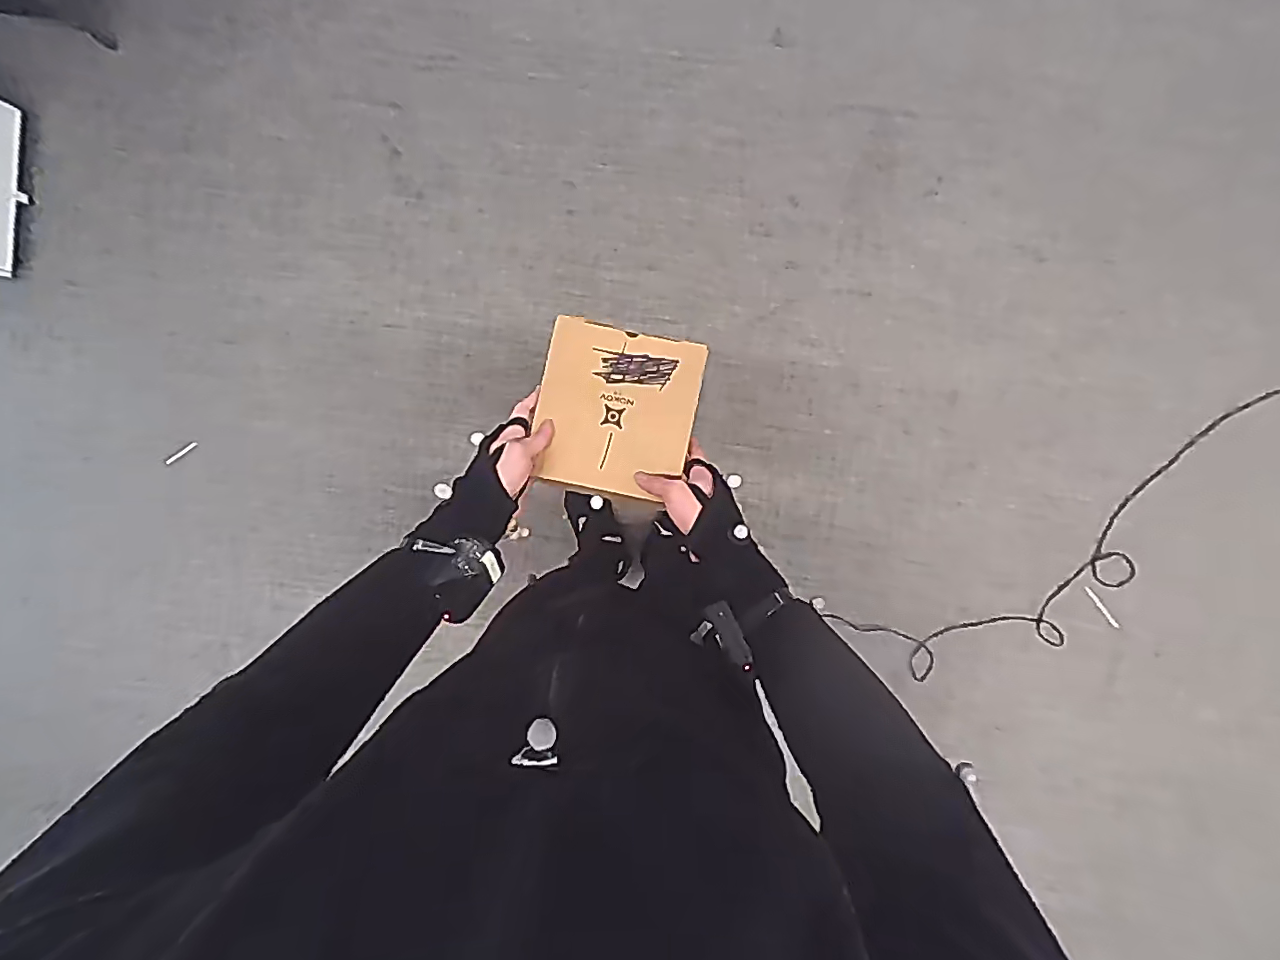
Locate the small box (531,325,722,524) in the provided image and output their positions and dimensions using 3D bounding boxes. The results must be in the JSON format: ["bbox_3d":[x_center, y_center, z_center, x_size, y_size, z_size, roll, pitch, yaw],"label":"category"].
[{"bbox_3d":[-0.015,-0.052,0.638,0.168,0.176,0.179,15,84,1],"label":"small box"}]
